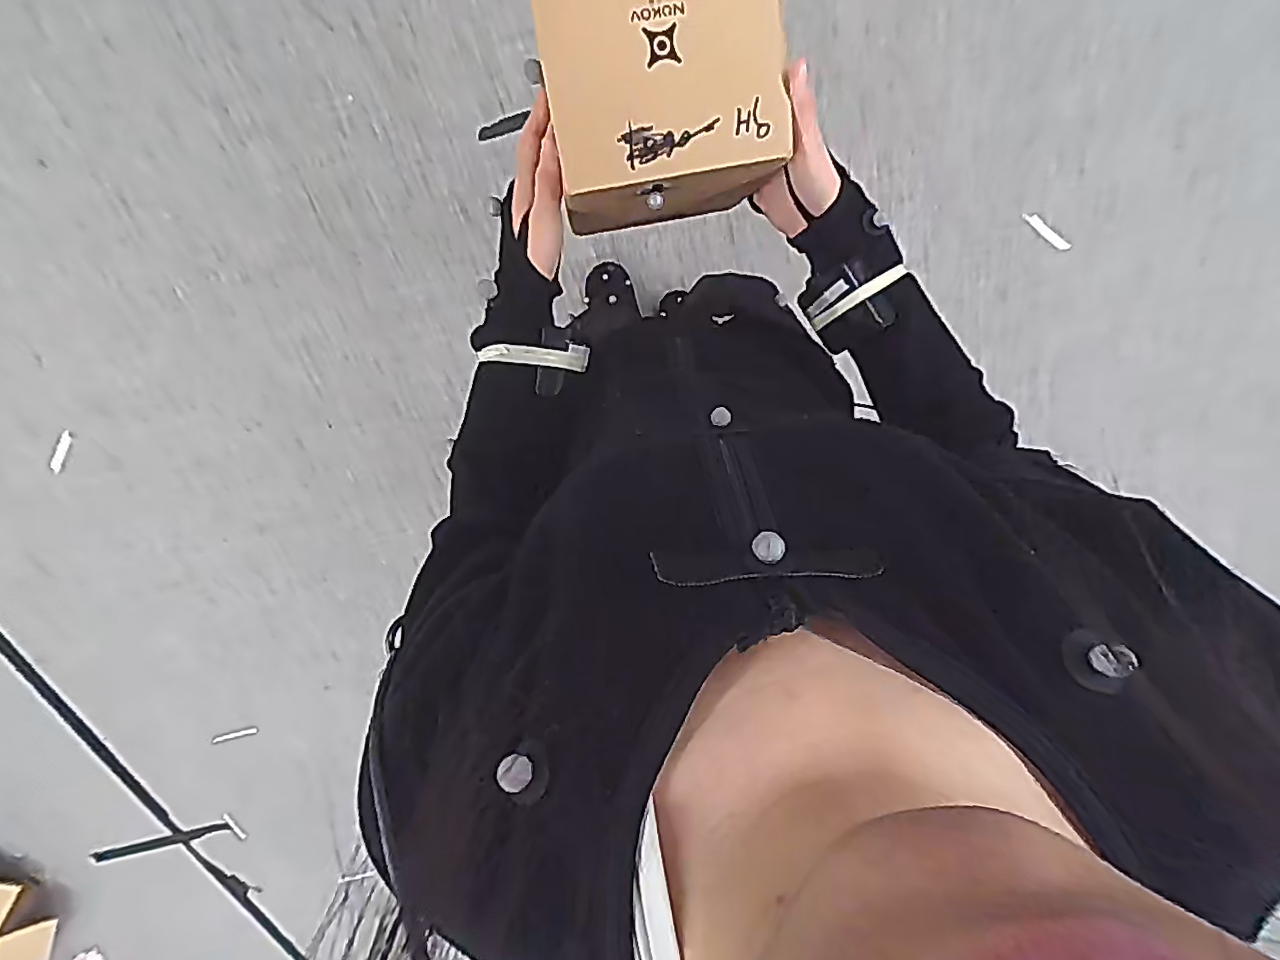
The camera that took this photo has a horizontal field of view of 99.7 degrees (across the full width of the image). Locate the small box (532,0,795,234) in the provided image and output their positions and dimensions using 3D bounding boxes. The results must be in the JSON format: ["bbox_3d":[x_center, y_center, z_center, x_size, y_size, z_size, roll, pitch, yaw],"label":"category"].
[{"bbox_3d":[0.009,-0.315,0.432,0.168,0.176,0.179,-11,106,-2],"label":"small box"}]
